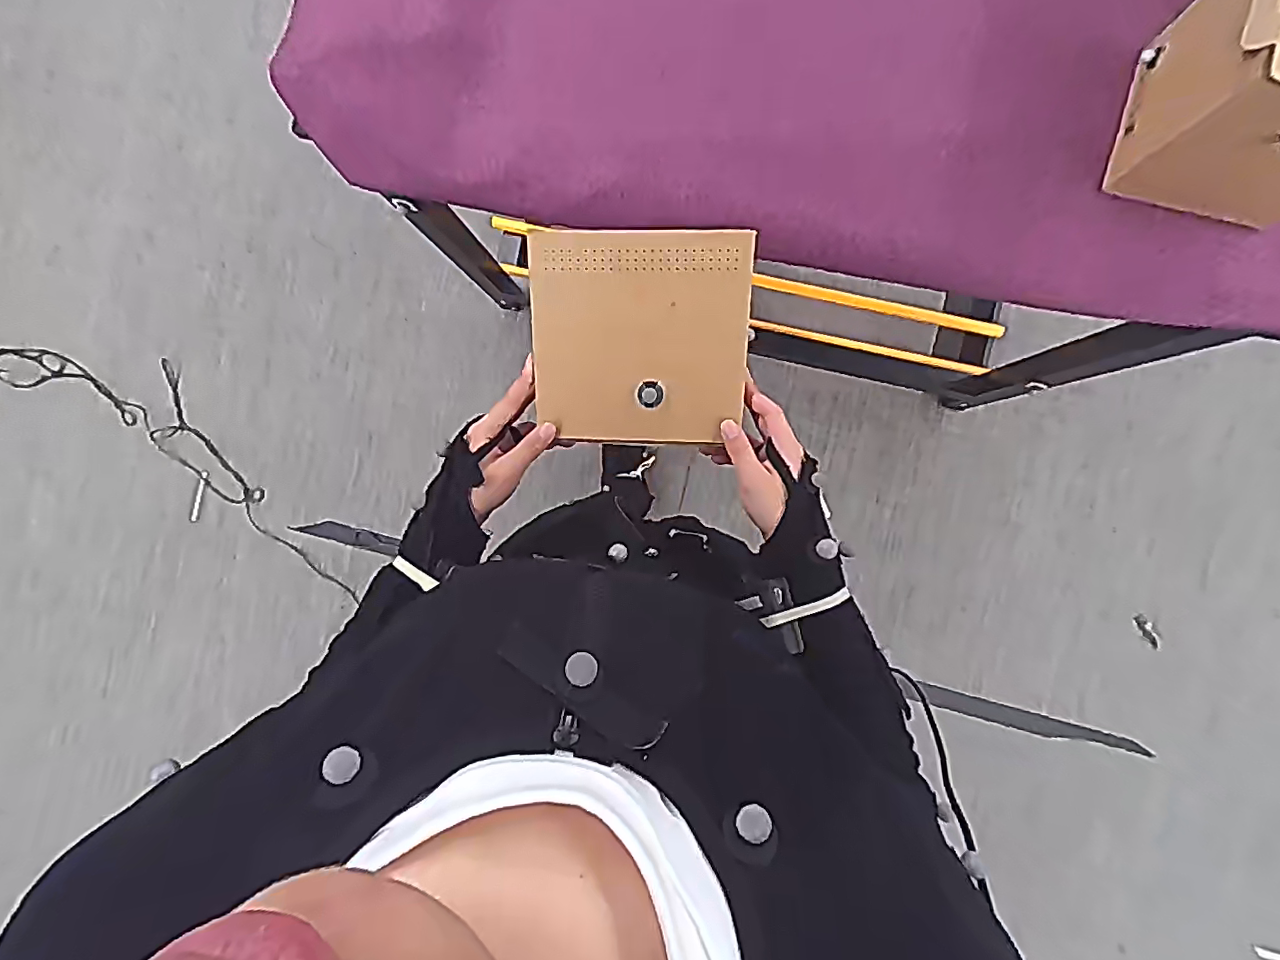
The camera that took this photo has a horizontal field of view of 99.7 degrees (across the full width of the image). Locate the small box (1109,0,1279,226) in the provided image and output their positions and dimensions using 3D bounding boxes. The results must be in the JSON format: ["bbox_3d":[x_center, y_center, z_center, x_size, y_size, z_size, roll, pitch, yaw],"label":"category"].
[{"bbox_3d":[0.608,-0.371,0.512,0.179,0.176,0.168,16,90,4],"label":"small box"}]
